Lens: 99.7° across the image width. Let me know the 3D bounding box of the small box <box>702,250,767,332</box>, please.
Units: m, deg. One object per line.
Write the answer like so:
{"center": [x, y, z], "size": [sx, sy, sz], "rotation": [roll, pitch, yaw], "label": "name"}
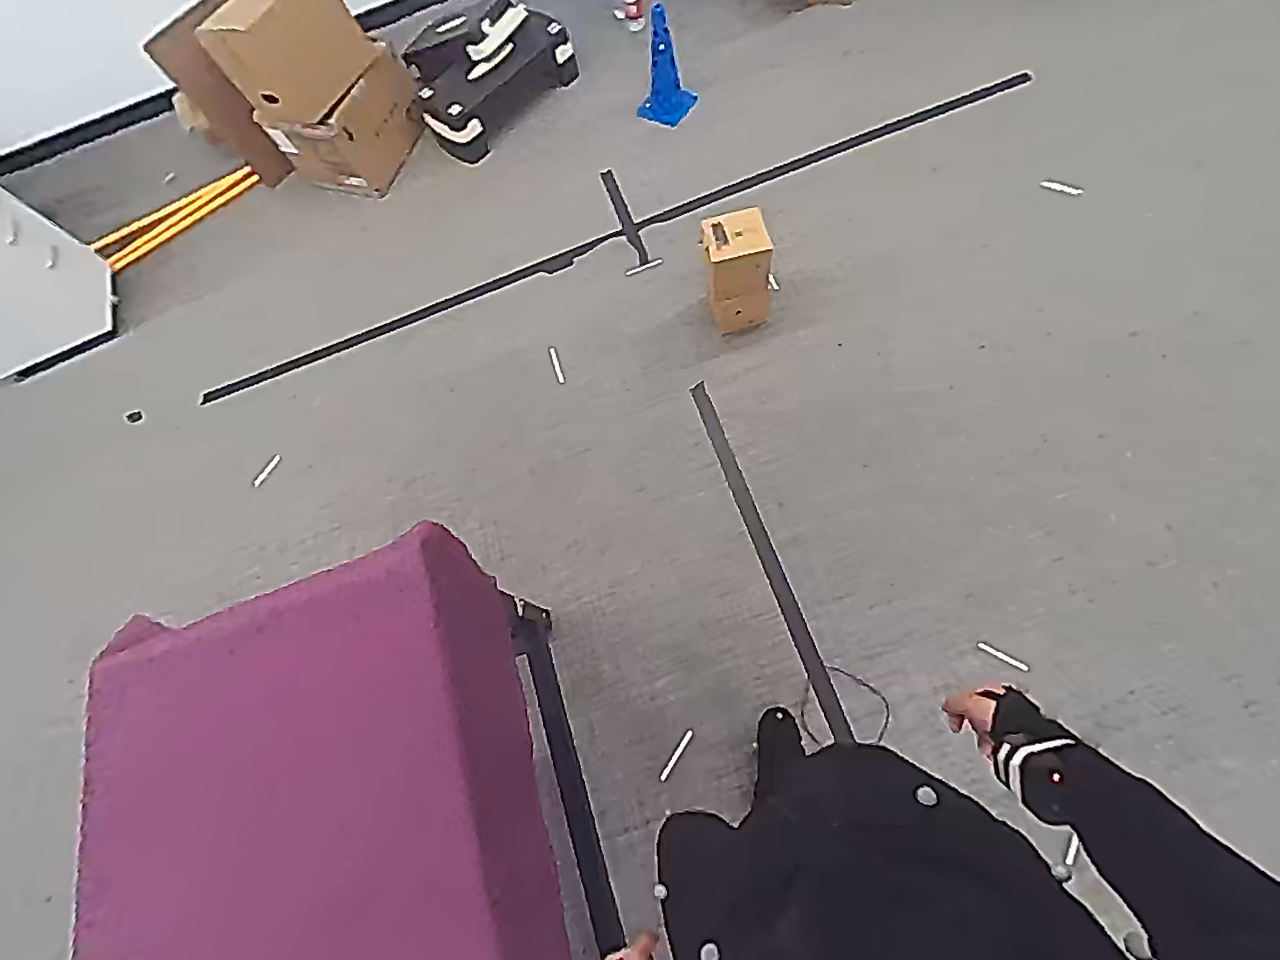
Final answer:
{"center": [0.310, -0.610, 1.772], "size": [0.168, 0.176, 0.179], "rotation": [-17, 67, 2], "label": "small box"}
